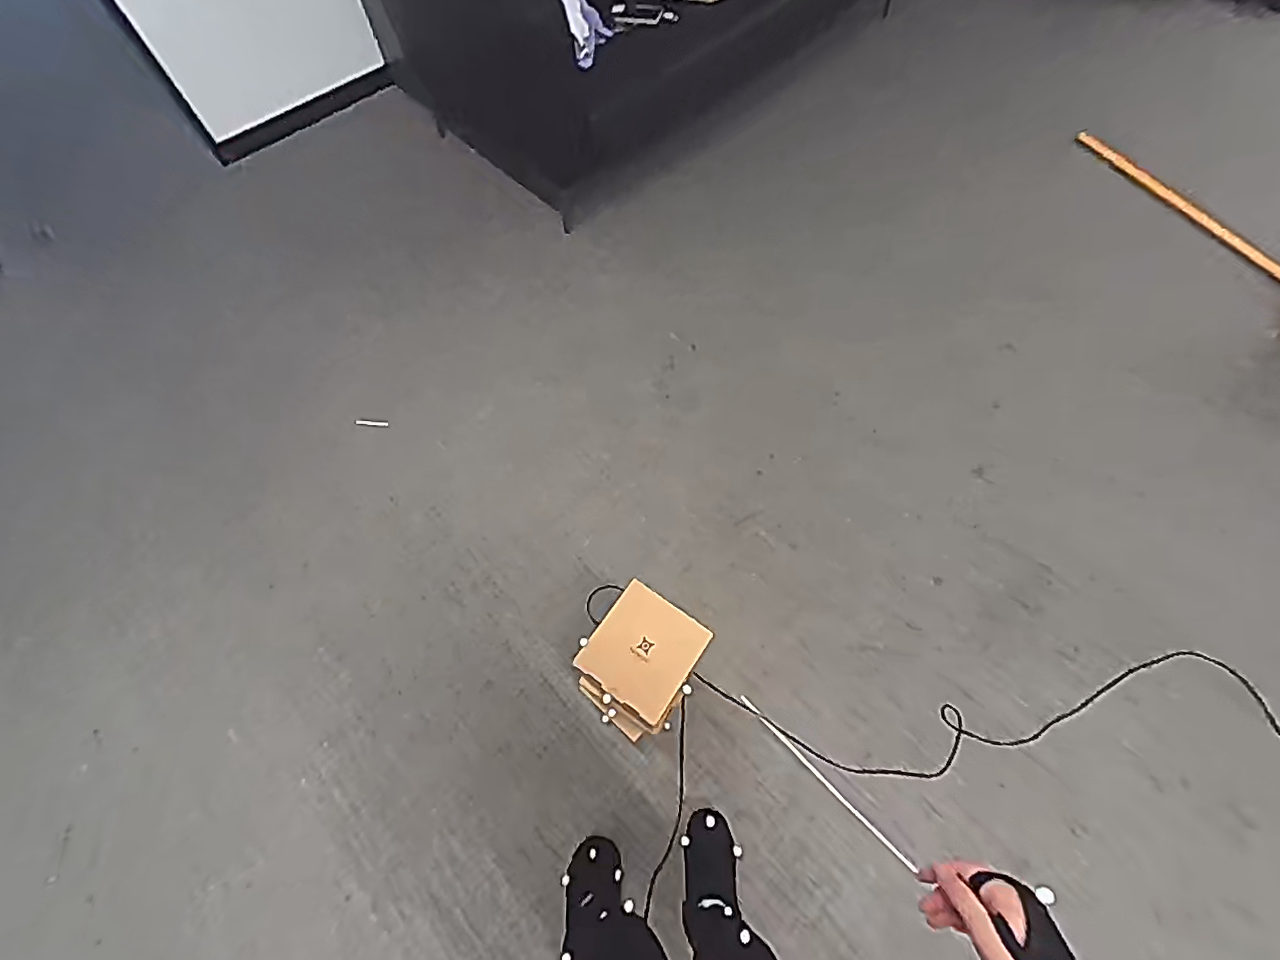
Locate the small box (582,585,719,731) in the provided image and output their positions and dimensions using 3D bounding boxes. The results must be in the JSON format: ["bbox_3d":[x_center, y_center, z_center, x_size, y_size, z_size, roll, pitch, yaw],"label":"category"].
[{"bbox_3d":[0.019,0.321,0.963,0.168,0.176,0.179,32,69,16],"label":"small box"}]

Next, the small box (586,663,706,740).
[{"bbox_3d":[0.016,0.405,1.104,0.179,0.176,0.168,28,68,16],"label":"small box"}]
